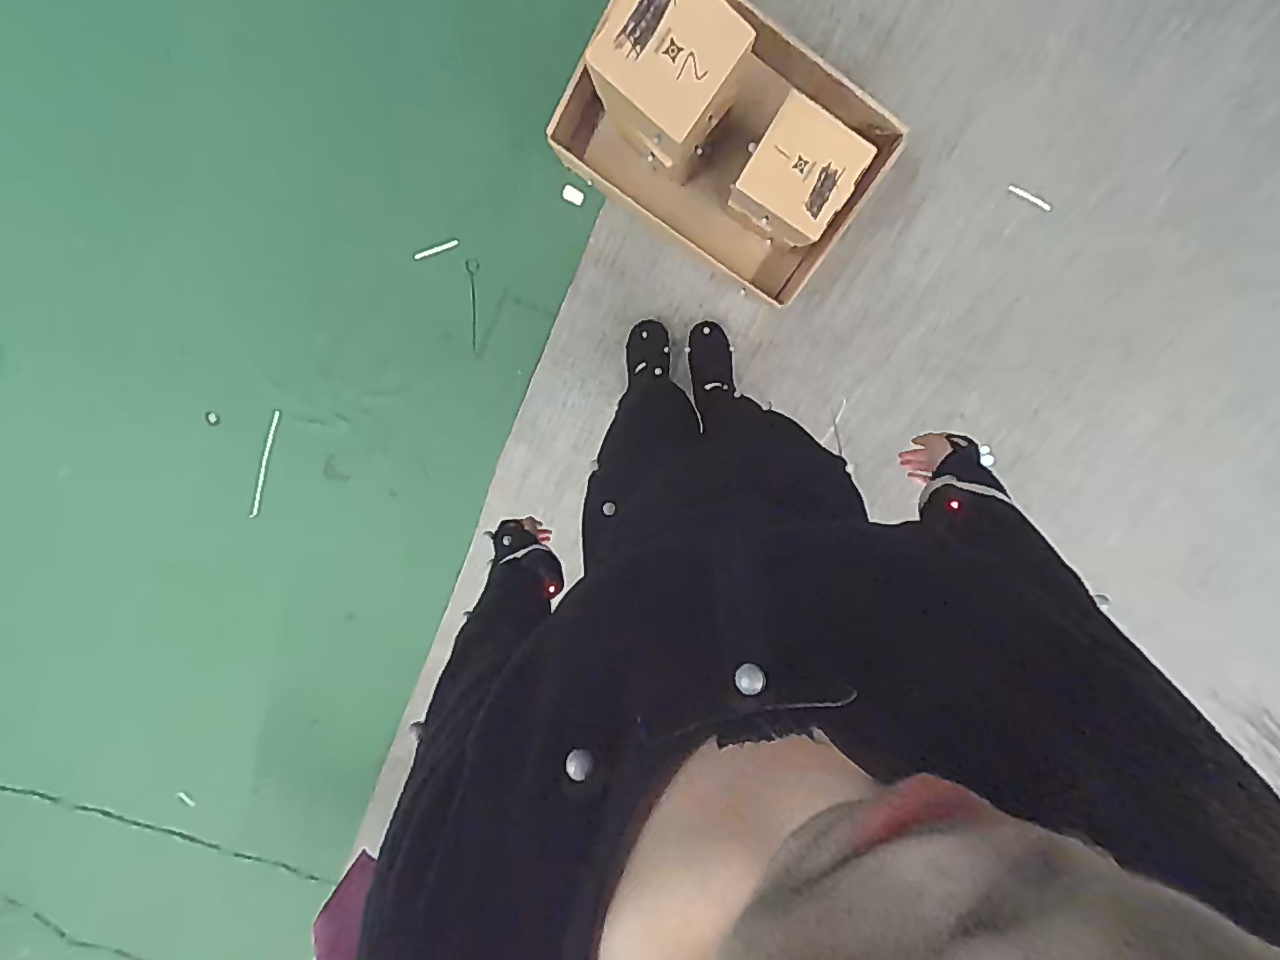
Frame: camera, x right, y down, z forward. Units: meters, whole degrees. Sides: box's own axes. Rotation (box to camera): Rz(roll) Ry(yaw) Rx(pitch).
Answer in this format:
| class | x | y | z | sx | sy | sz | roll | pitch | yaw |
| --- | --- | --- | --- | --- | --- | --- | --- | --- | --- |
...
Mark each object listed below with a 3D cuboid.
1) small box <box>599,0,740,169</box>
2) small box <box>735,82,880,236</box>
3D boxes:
| class | x | y | z | sx | sy | sz | roll | pitch | yaw |
| --- | --- | --- | --- | --- | --- | --- | --- | --- | --- |
| small box | 0.051 | -0.686 | 0.958 | 0.179 | 0.176 | 0.168 | 41 | 109 | -13 |
| small box | 0.289 | -0.563 | 0.976 | 0.179 | 0.176 | 0.168 | 32 | 111 | -5 |
